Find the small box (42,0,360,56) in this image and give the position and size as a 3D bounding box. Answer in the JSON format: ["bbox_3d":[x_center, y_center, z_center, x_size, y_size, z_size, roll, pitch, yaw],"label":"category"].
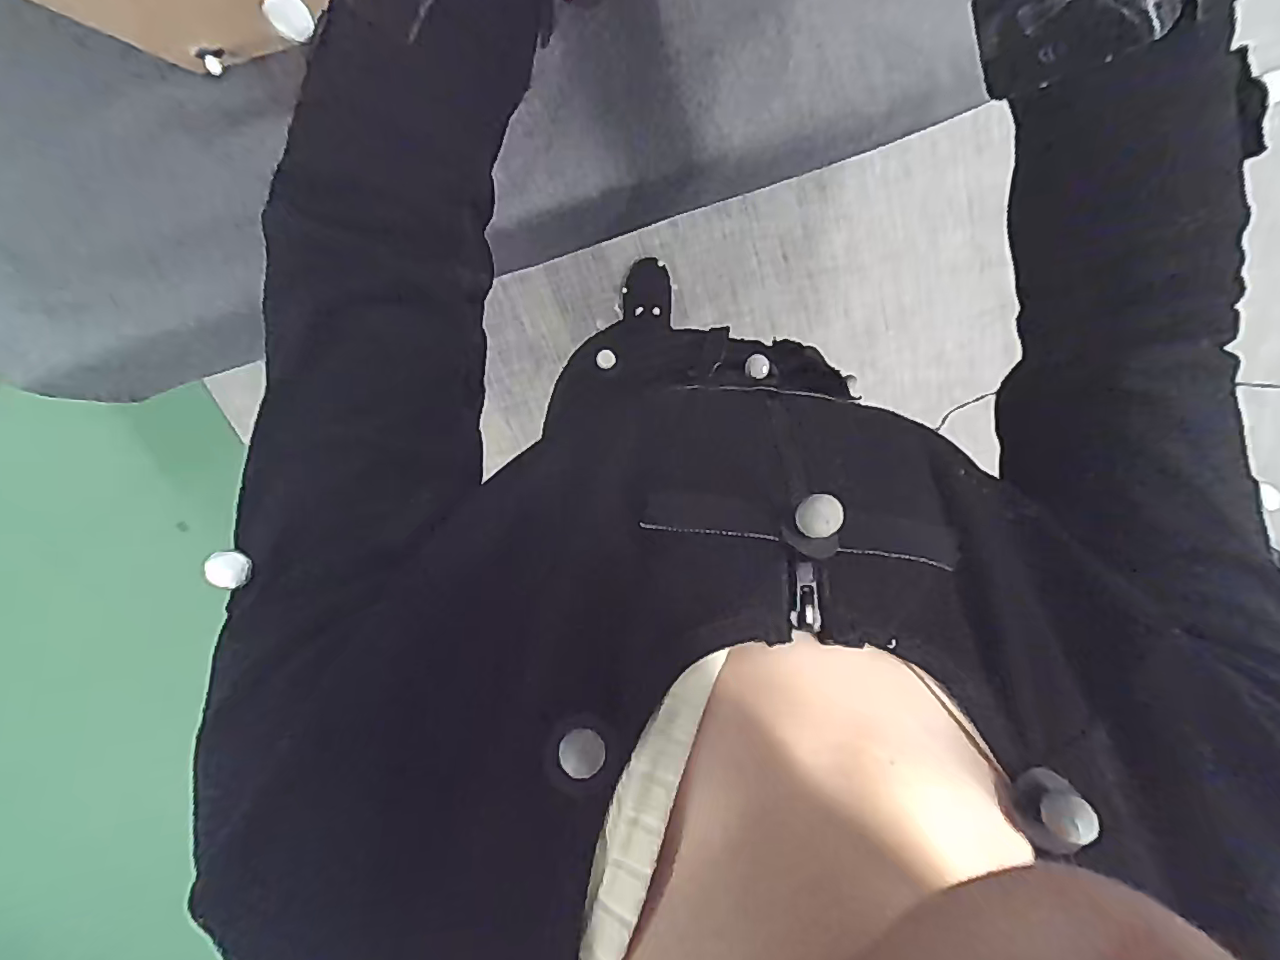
[{"bbox_3d":[-0.325,-0.422,0.361,0.168,0.176,0.179,-14,111,3],"label":"small box"}]
